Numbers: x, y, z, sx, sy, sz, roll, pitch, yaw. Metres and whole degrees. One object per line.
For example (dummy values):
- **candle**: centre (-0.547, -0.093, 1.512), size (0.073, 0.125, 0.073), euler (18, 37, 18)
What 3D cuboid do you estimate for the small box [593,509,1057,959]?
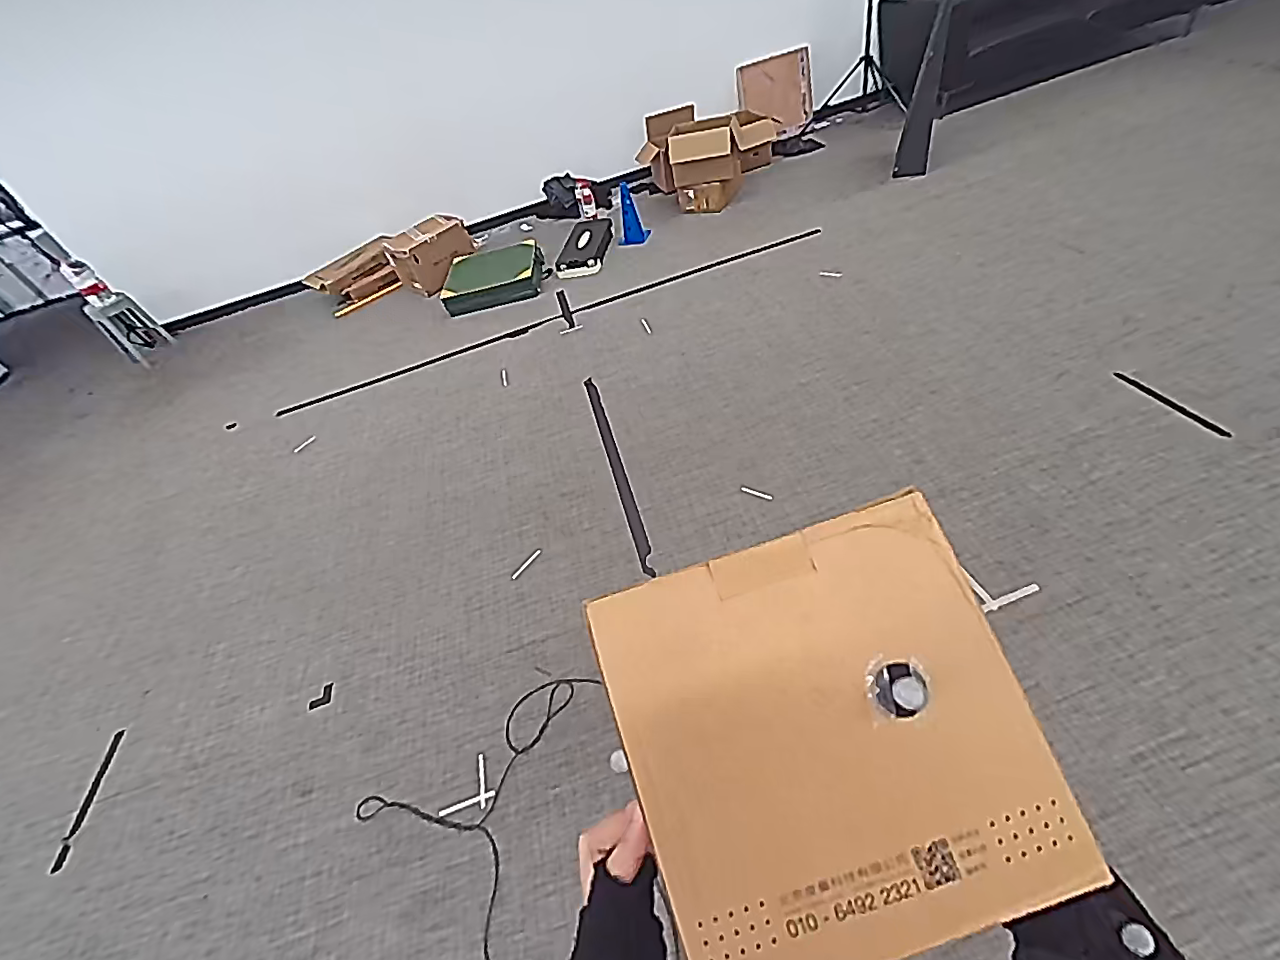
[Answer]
- **small box**: centre (0.086, 0.136, 0.320), size (0.168, 0.179, 0.176), euler (-19, 75, 1)
